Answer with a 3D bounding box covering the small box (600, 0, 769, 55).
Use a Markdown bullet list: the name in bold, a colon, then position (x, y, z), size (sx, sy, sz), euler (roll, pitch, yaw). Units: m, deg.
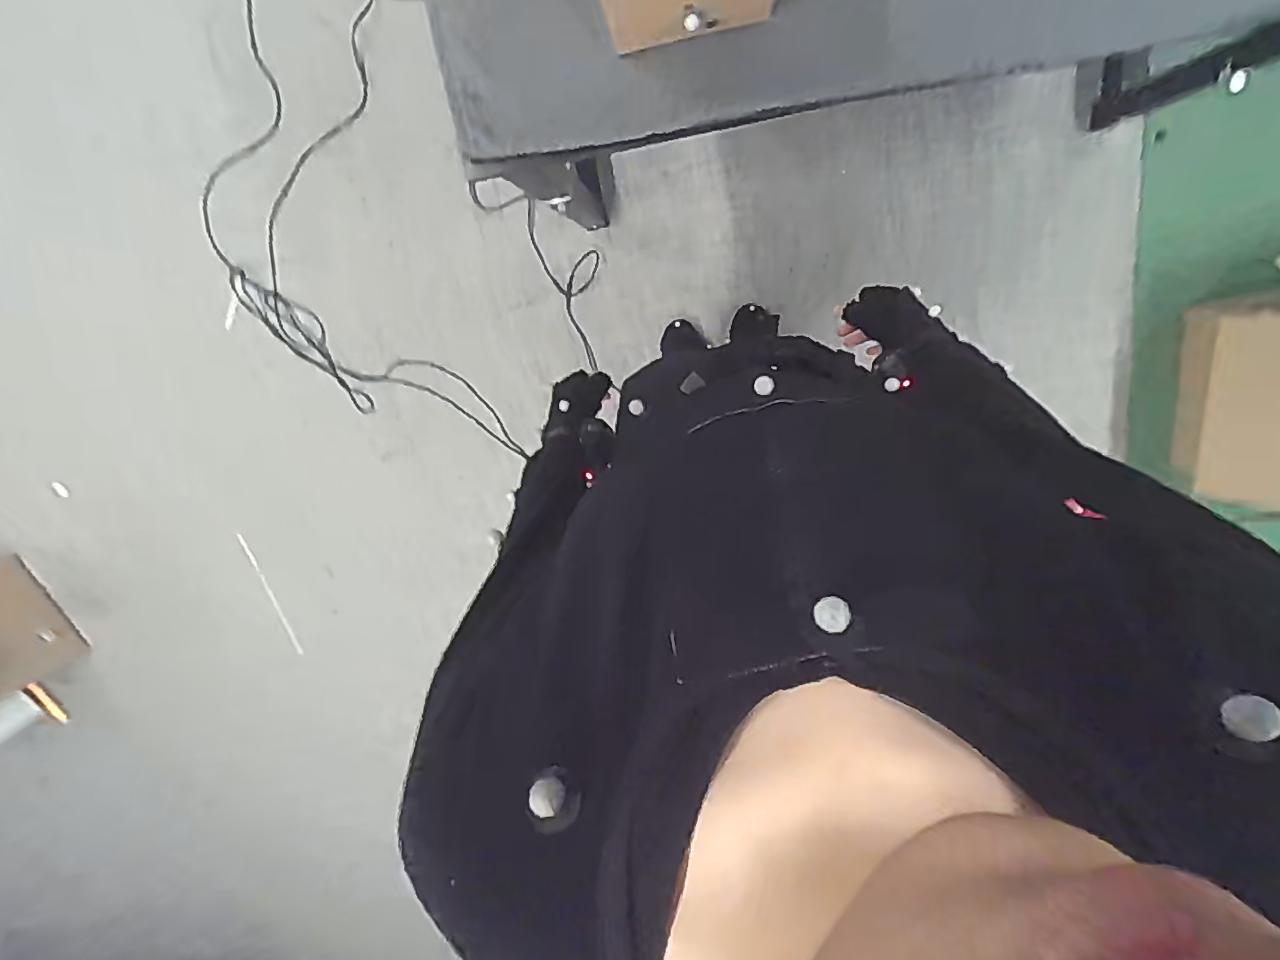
- **small box**: position (0.031, -0.526, 0.475), size (0.168, 0.176, 0.179), euler (-8, 107, 8)
